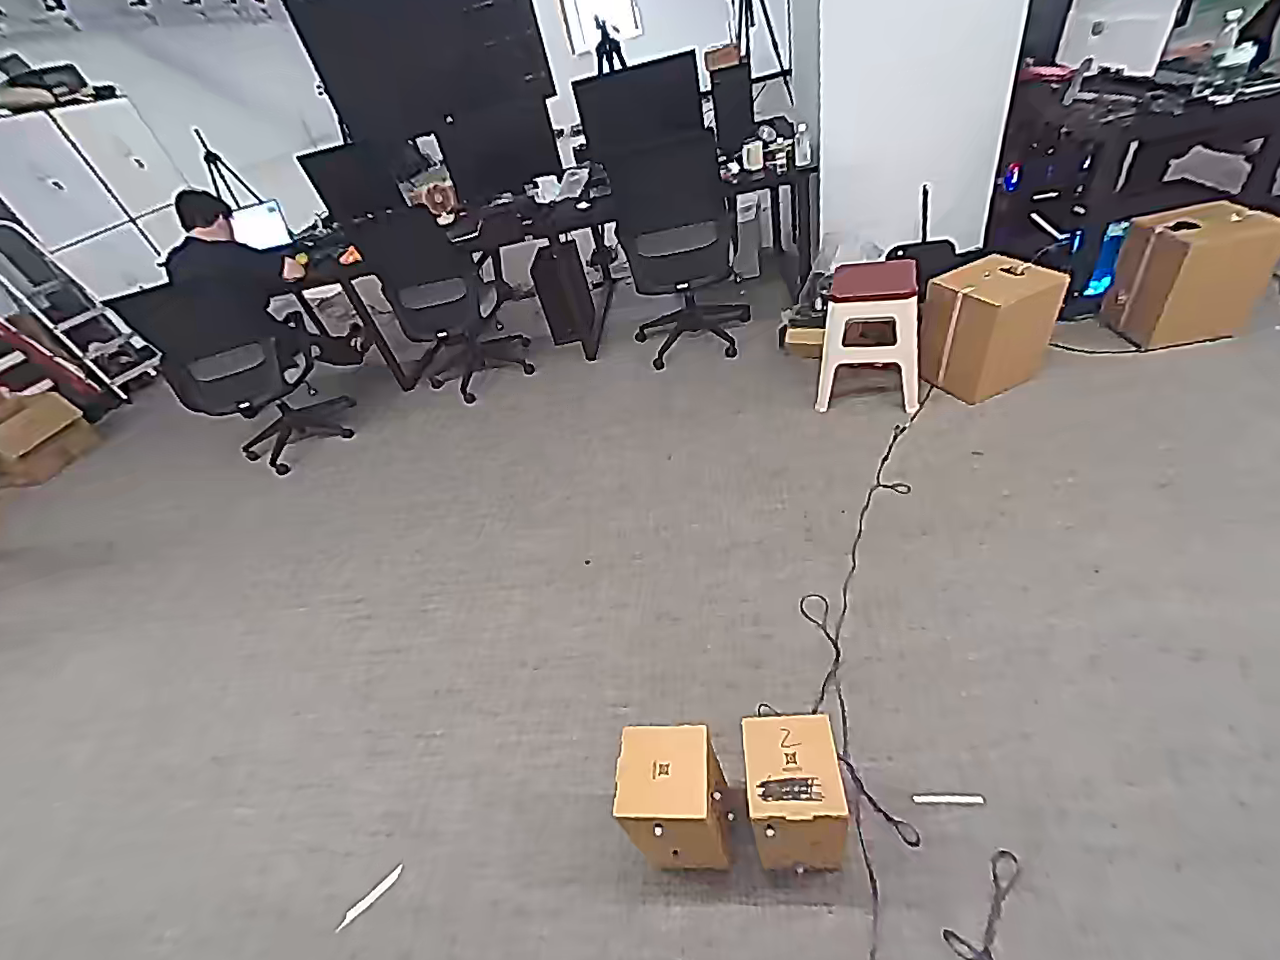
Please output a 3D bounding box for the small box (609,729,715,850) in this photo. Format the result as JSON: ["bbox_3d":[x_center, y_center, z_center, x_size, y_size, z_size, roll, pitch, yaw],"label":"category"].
[{"bbox_3d":[0.053,0.610,1.068,0.179,0.176,0.168,-7,40,13],"label":"small box"}]

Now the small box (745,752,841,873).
[{"bbox_3d":[0.314,0.696,1.133,0.168,0.176,0.179,-8,41,10],"label":"small box"}]

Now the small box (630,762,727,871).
[{"bbox_3d":[0.088,0.729,1.172,0.179,0.176,0.168,-7,41,12],"label":"small box"}]
